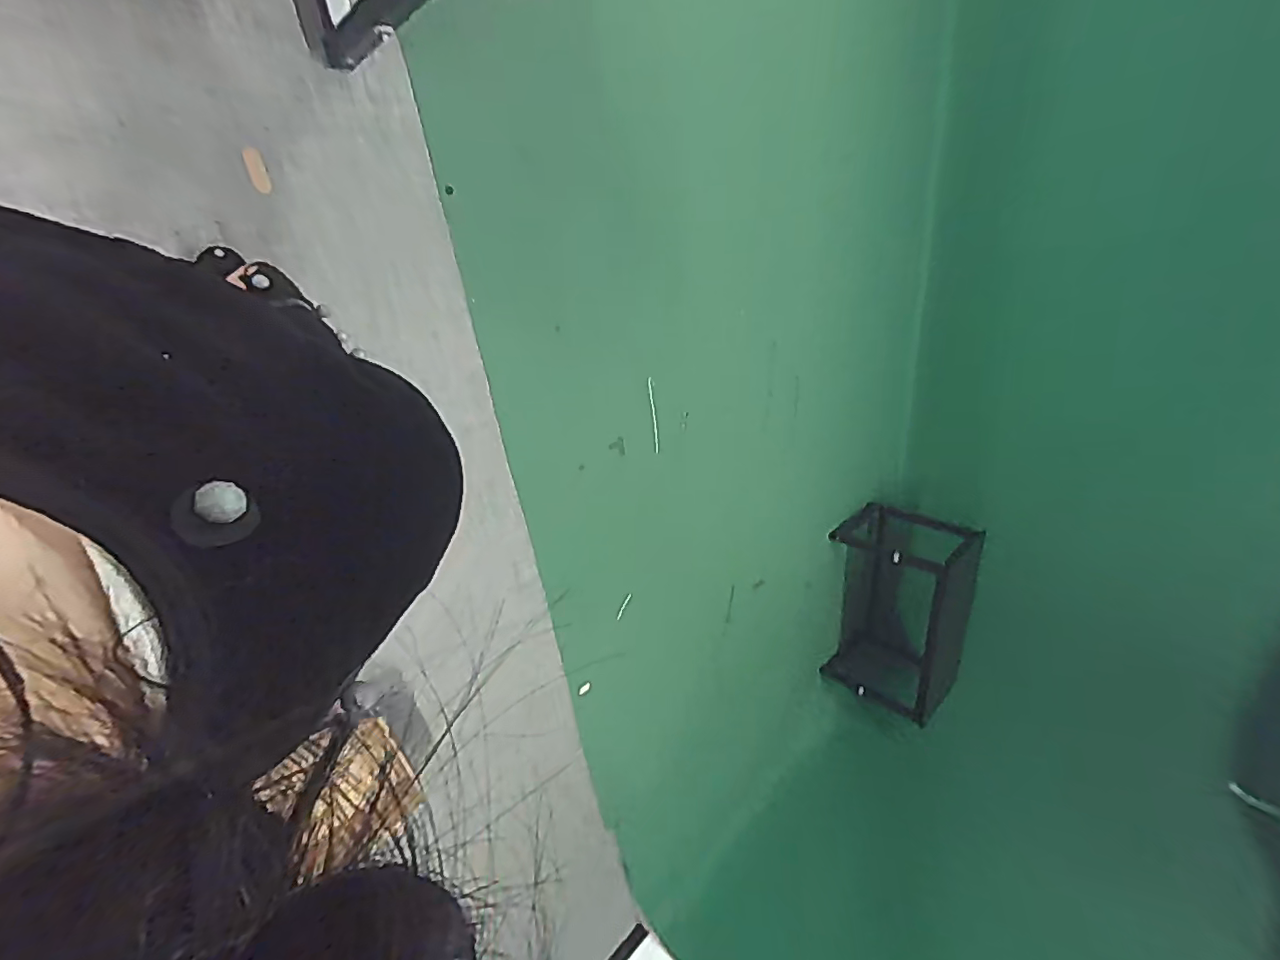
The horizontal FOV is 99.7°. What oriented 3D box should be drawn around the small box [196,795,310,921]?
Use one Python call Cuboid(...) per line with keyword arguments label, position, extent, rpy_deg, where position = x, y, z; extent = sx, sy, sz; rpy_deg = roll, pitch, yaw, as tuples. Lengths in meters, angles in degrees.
Cuboid(label="small box", position=(-1.002, 0.966, 1.398), extent=(0.179, 0.176, 0.168), rpy_deg=(-36, 126, -29))
